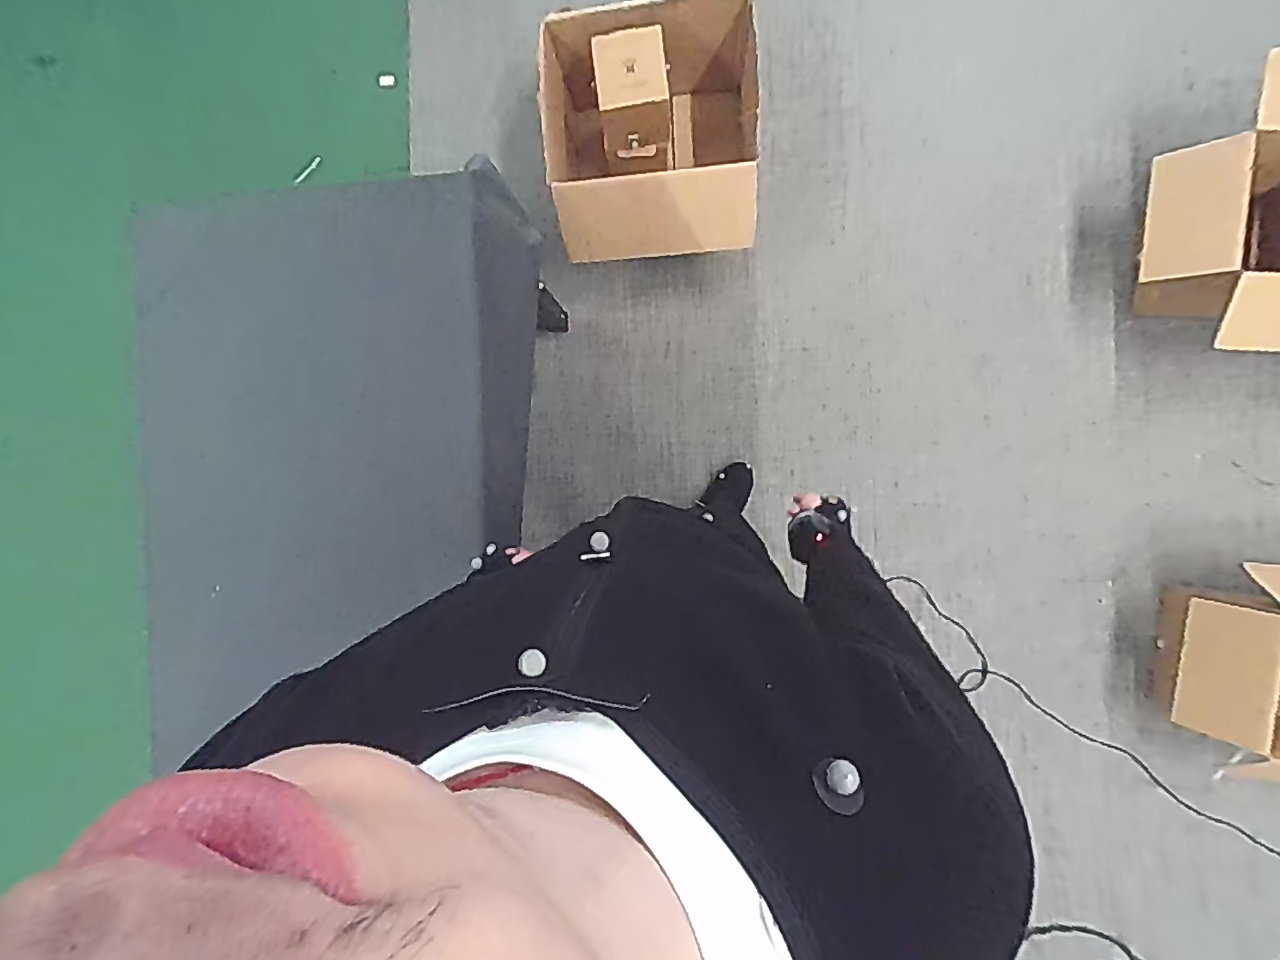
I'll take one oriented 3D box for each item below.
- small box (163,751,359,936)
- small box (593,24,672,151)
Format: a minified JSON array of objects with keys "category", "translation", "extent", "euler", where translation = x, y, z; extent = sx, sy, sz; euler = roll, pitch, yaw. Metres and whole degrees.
[{"category":"small box","translation":[-0.556,0.527,0.810],"extent":[0.179,0.176,0.168],"euler":[-1,89,6]},{"category":"small box","translation":[-0.014,-0.939,1.308],"extent":[0.168,0.176,0.179],"euler":[-7,90,4]}]
